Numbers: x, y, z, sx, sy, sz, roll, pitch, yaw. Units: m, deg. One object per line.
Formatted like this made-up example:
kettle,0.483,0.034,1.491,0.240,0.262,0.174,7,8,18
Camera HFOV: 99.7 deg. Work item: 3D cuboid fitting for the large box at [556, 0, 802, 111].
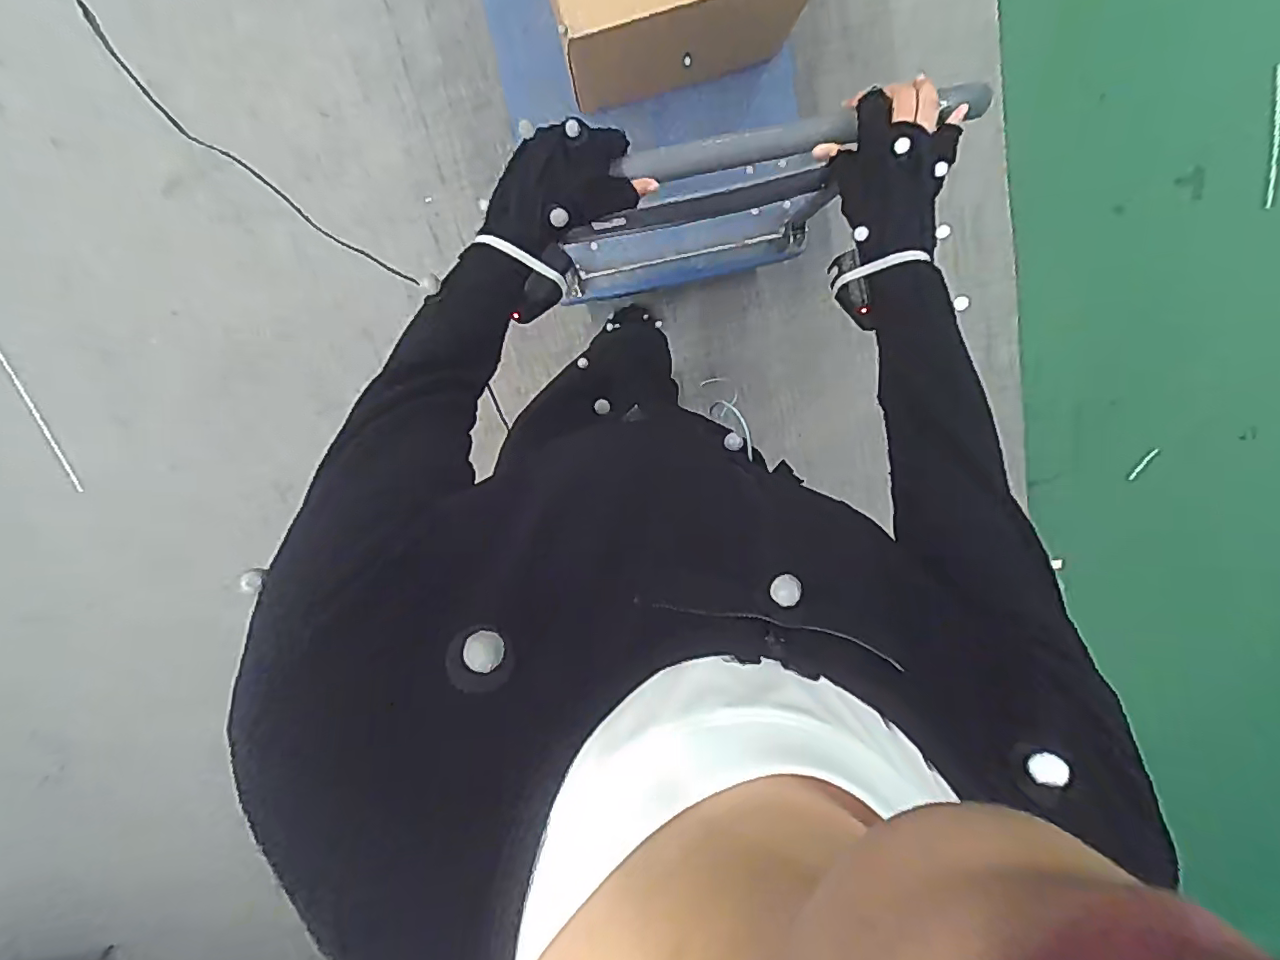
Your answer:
large box,0.045,-0.900,0.912,0.408,0.320,0.320,-15,106,4
